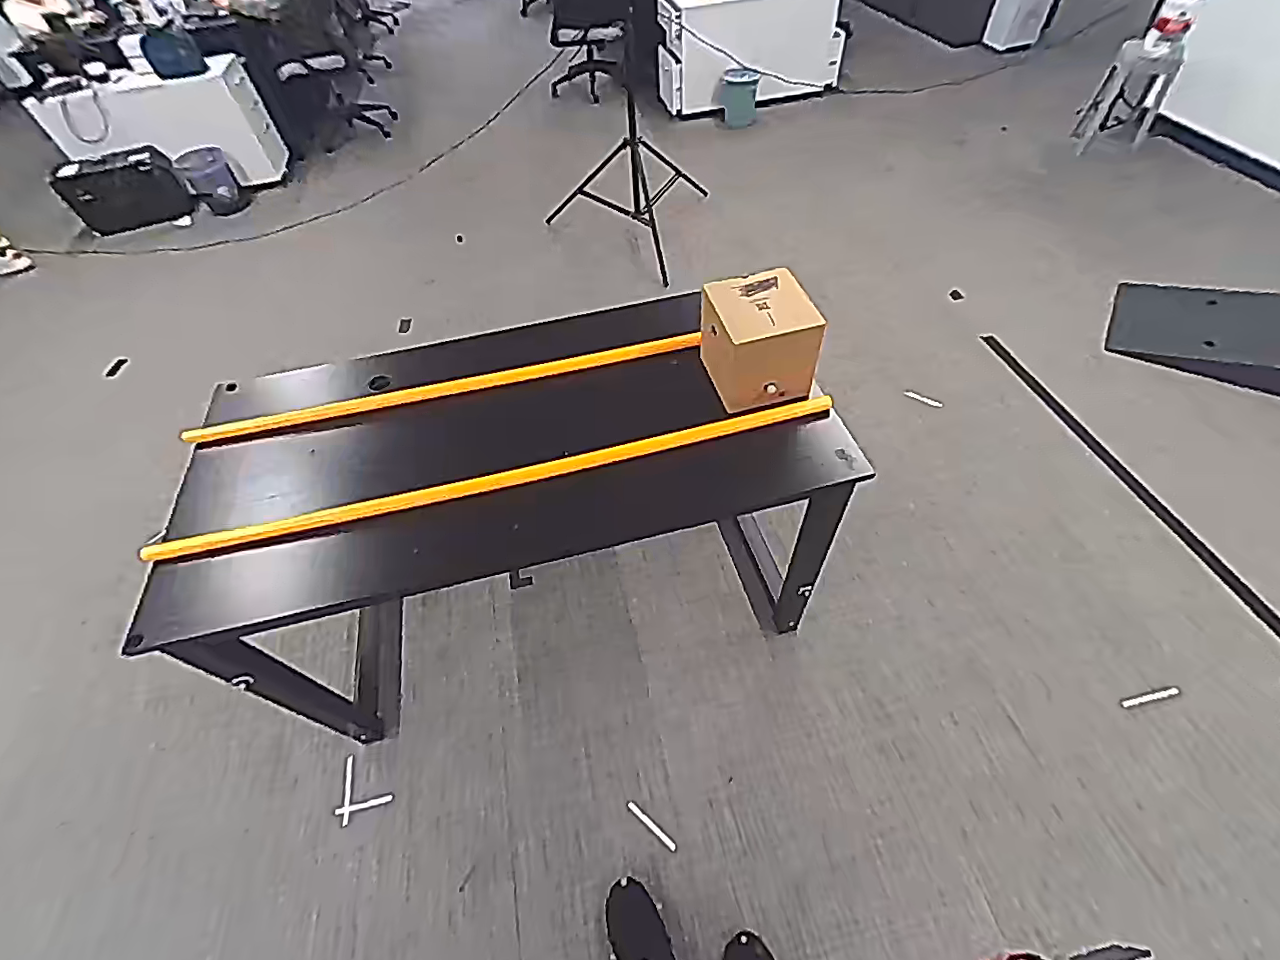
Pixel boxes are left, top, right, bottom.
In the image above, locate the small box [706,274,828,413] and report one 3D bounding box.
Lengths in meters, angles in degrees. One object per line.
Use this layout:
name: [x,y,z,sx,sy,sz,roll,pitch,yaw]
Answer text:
small box: [0.225,-0.254,1.017,0.168,0.176,0.179,-14,53,-4]
